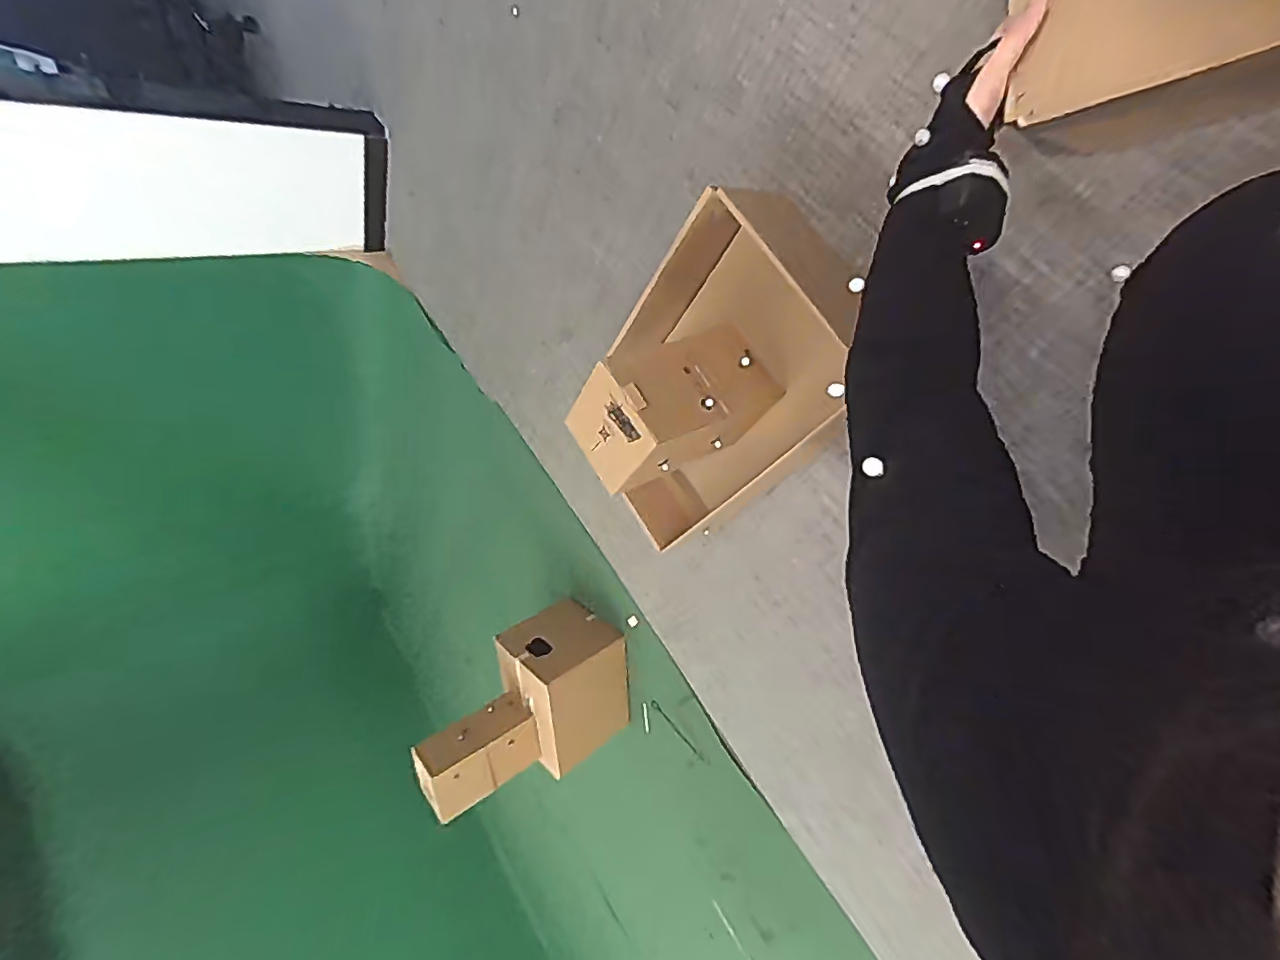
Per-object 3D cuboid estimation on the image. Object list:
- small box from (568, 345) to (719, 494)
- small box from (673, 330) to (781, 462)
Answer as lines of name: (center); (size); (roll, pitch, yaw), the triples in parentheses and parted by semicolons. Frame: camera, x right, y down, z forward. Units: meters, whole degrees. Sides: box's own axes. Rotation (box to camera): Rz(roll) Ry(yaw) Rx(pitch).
small box: (0.010, -0.107, 0.923); (0.168, 0.176, 0.179); (58, 142, 12)
small box: (0.130, -0.159, 1.024); (0.168, 0.176, 0.179); (57, 141, 13)
